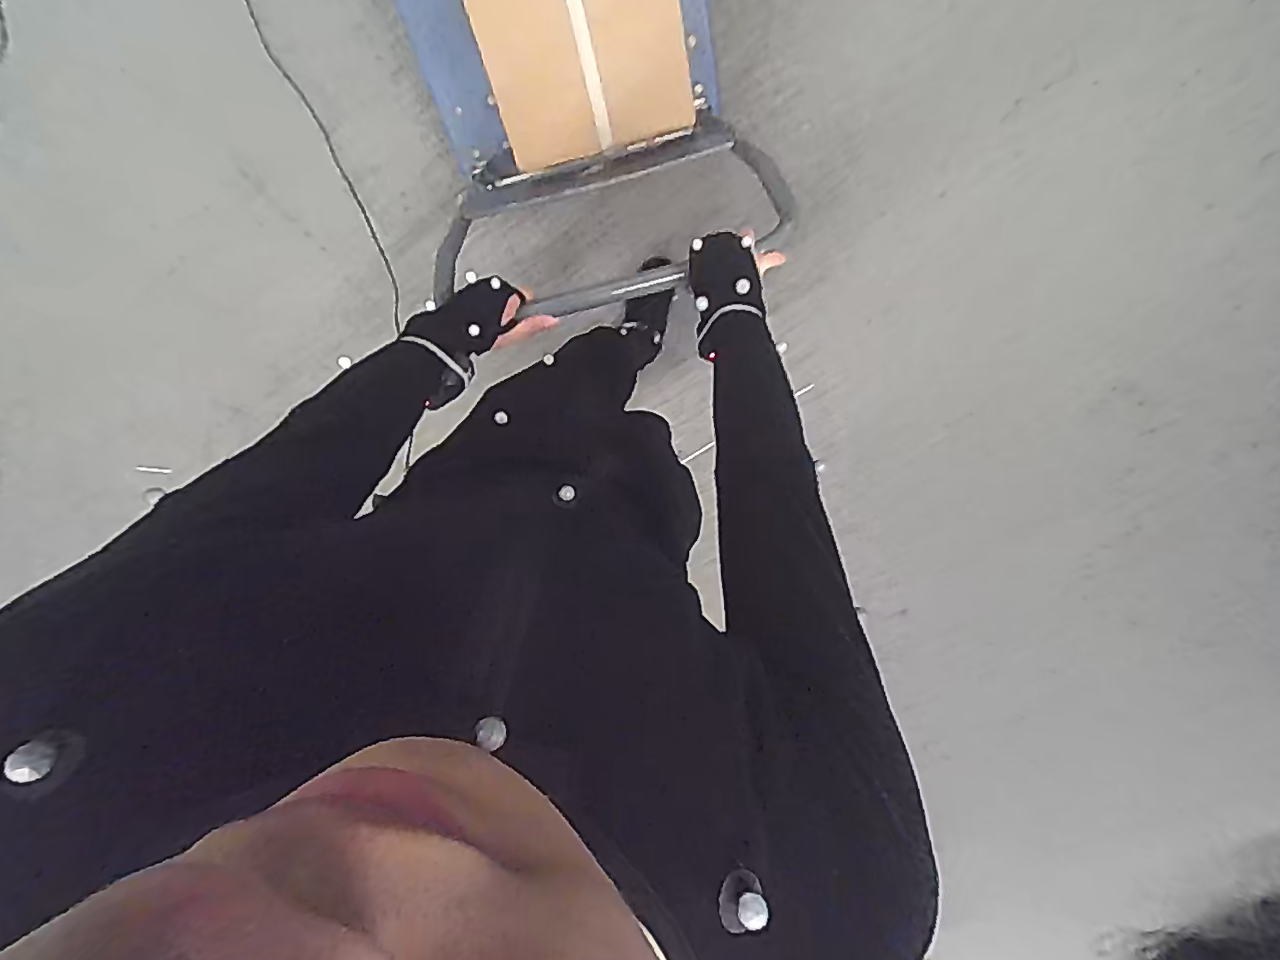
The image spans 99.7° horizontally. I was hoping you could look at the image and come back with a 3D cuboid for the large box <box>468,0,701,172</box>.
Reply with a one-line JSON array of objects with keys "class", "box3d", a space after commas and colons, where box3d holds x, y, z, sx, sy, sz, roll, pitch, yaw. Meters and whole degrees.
[{"class": "large box", "box3d": [-0.104, -0.798, 0.906, 0.320, 0.320, 0.408, -14, 127, 4]}]
